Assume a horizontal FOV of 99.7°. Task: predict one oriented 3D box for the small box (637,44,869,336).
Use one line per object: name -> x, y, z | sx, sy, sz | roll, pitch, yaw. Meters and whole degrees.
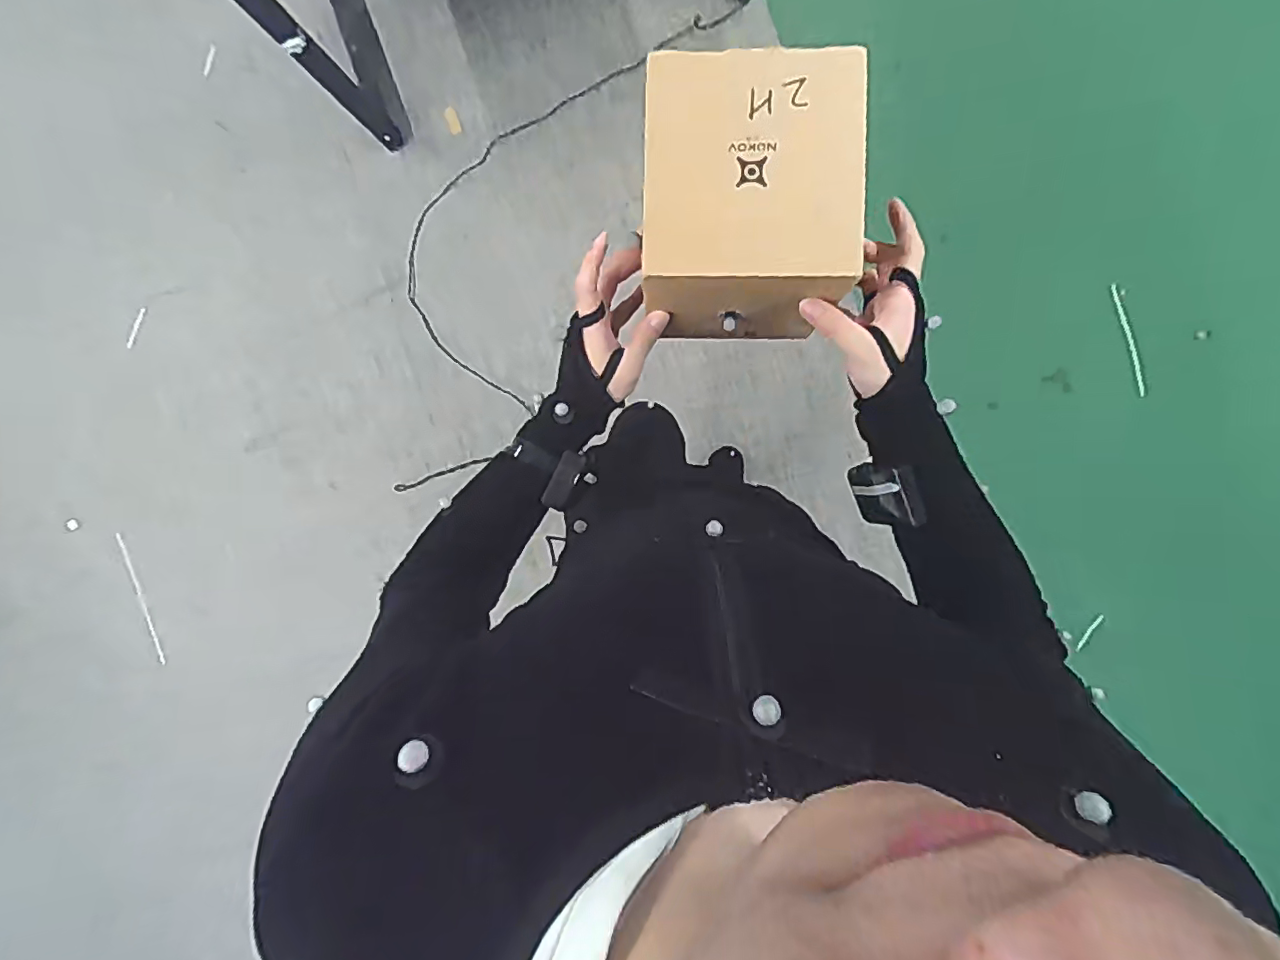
small box -> 0.088, -0.234, 0.480 | 0.168, 0.176, 0.179 | 2, 88, 3
